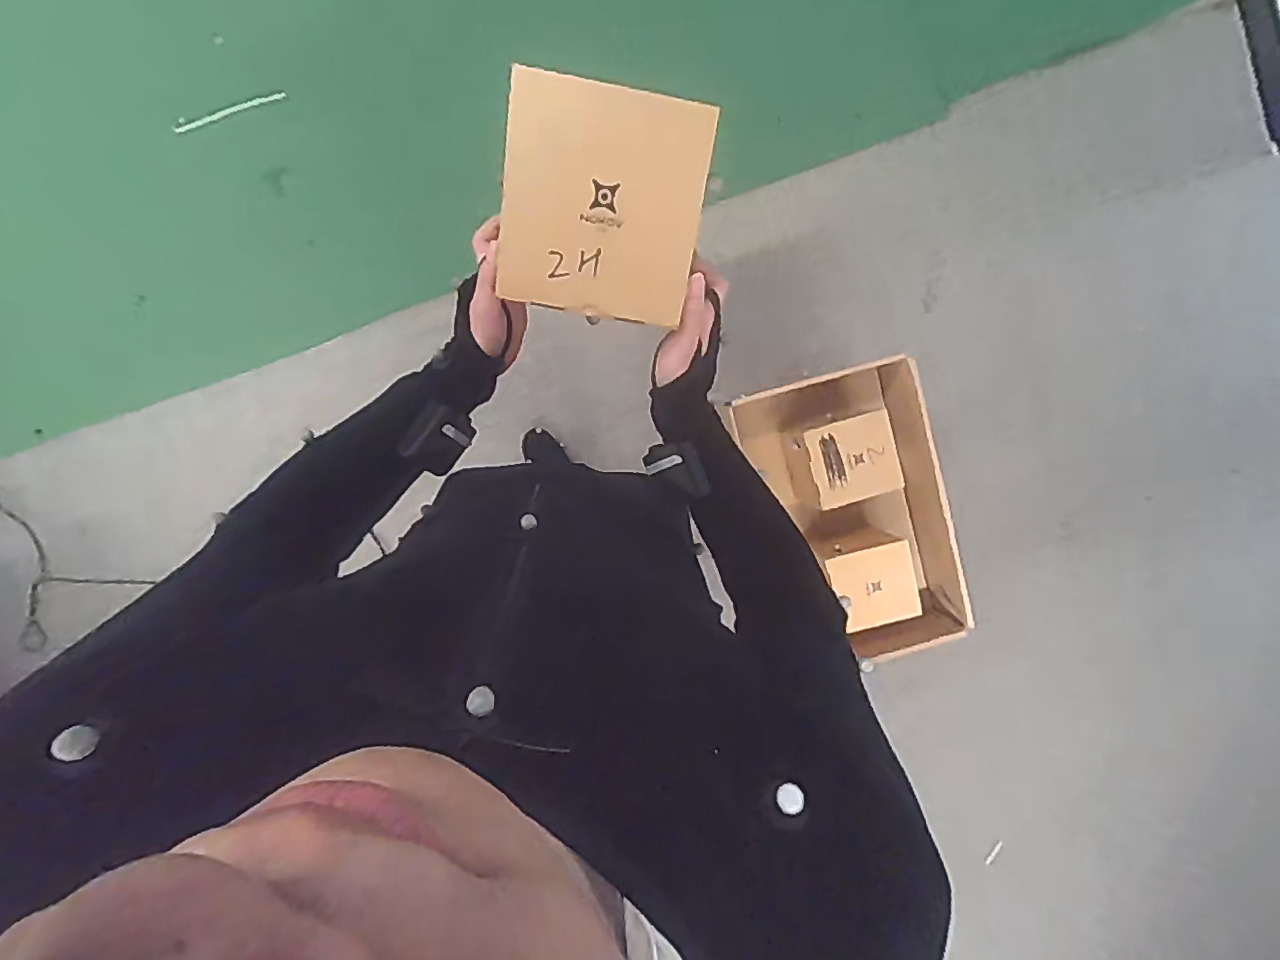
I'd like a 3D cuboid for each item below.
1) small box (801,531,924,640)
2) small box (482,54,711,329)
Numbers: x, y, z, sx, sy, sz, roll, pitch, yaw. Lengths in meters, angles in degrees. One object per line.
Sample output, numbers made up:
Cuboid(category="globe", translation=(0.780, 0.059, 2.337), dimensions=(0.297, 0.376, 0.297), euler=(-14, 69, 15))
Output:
Cuboid(category="small box", translation=(0.471, 0.219, 1.165), dimensions=(0.179, 0.176, 0.168), euler=(-14, 96, 0))
Cuboid(category="small box", translation=(-0.041, -0.253, 0.512), dimensions=(0.168, 0.176, 0.179), euler=(9, 110, -4))
